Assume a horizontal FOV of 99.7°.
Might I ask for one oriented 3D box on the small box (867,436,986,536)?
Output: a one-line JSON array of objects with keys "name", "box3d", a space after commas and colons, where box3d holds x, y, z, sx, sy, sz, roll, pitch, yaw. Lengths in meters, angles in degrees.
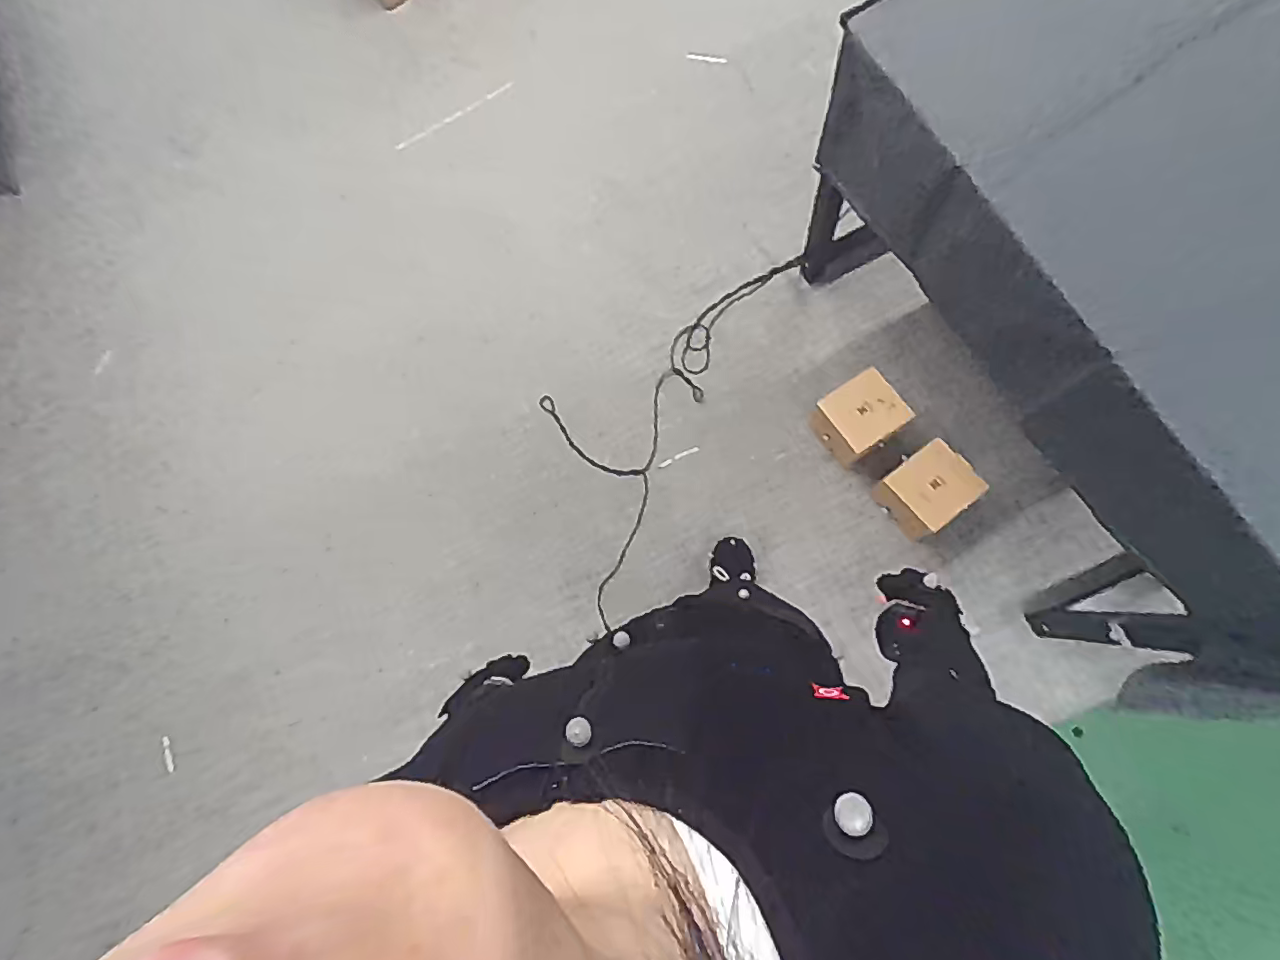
[{"name": "small box", "box3d": [0.707, 0.022, 1.360, 0.179, 0.176, 0.168, -38, 75, -1]}]
